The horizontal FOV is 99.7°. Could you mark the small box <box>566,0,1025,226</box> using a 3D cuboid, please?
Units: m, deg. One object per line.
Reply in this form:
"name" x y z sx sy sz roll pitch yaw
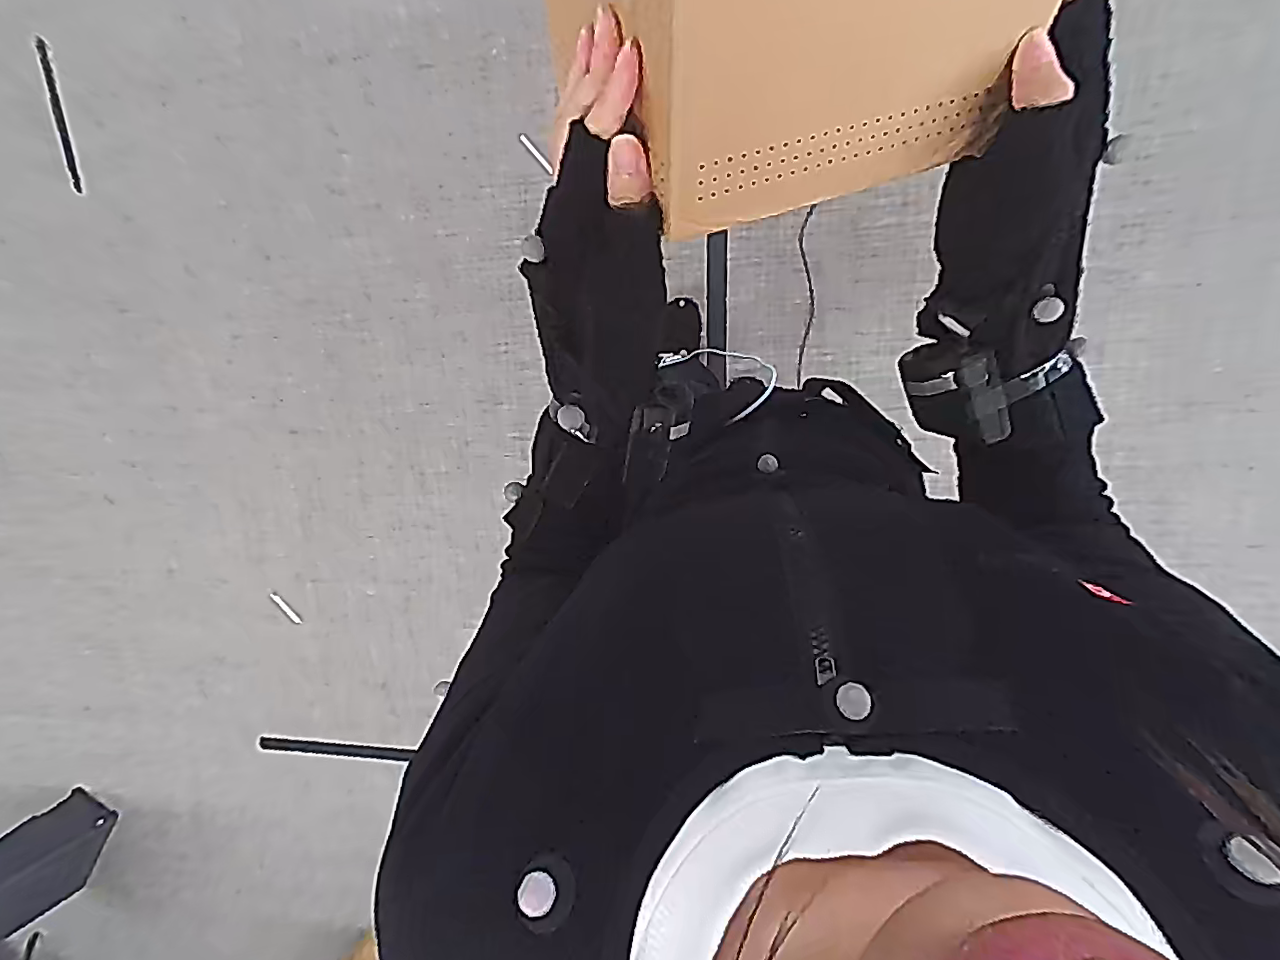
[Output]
"small box" 0.062 -0.246 0.245 0.179 0.176 0.168 -20 59 -9
